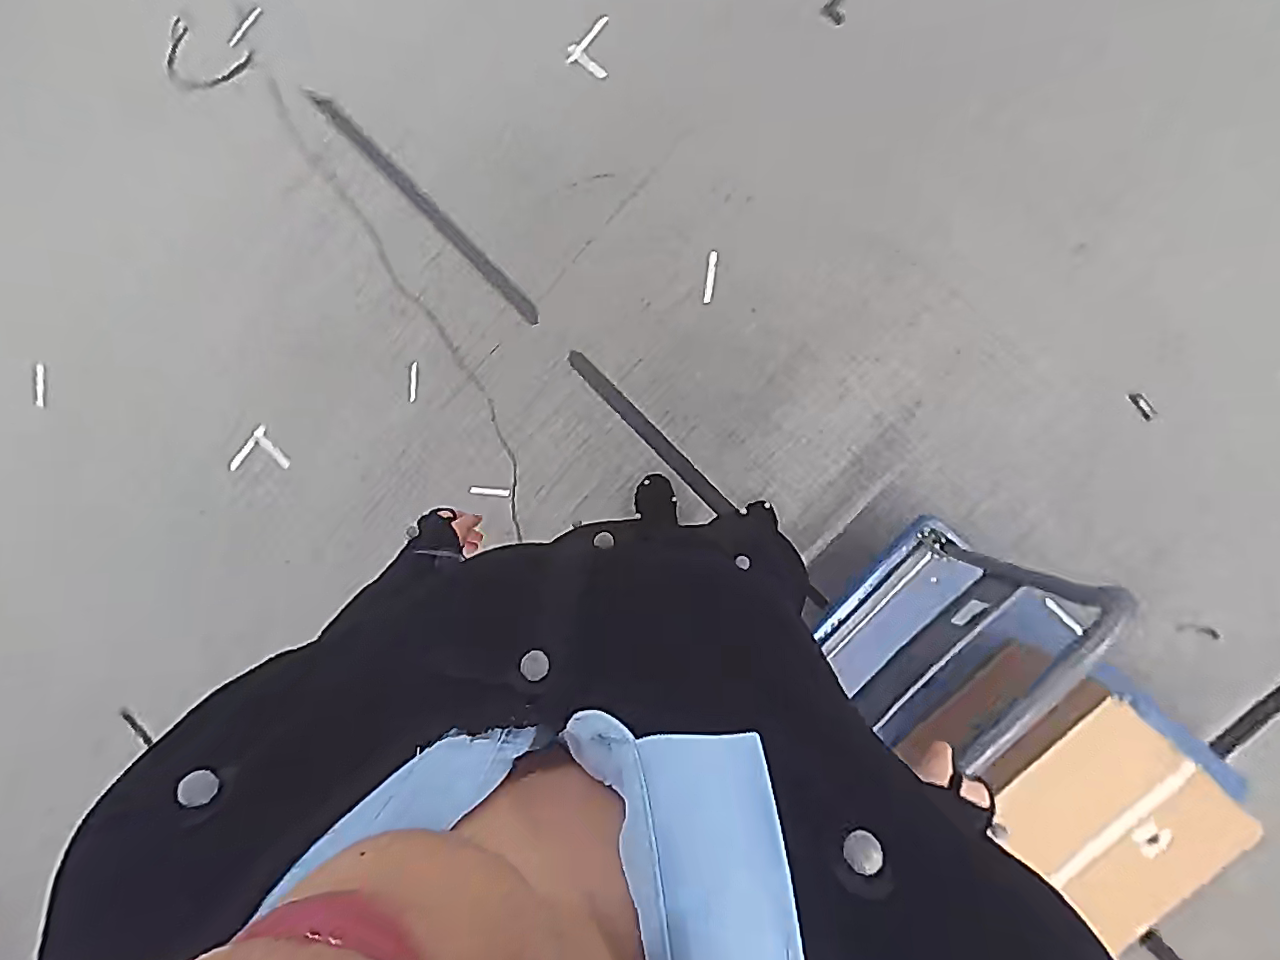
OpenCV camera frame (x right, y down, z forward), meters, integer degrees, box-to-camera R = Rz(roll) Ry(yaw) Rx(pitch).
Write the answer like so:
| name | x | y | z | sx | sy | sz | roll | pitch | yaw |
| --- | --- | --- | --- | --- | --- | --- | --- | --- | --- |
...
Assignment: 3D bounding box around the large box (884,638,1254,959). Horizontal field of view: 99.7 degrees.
| name | x | y | z | sx | sy | sz | roll | pitch | yaw |
| --- | --- | --- | --- | --- | --- | --- | --- | --- | --- |
| large box | 0.771 | 0.590 | 1.051 | 0.320 | 0.320 | 0.408 | 44 | 95 | 4 |
